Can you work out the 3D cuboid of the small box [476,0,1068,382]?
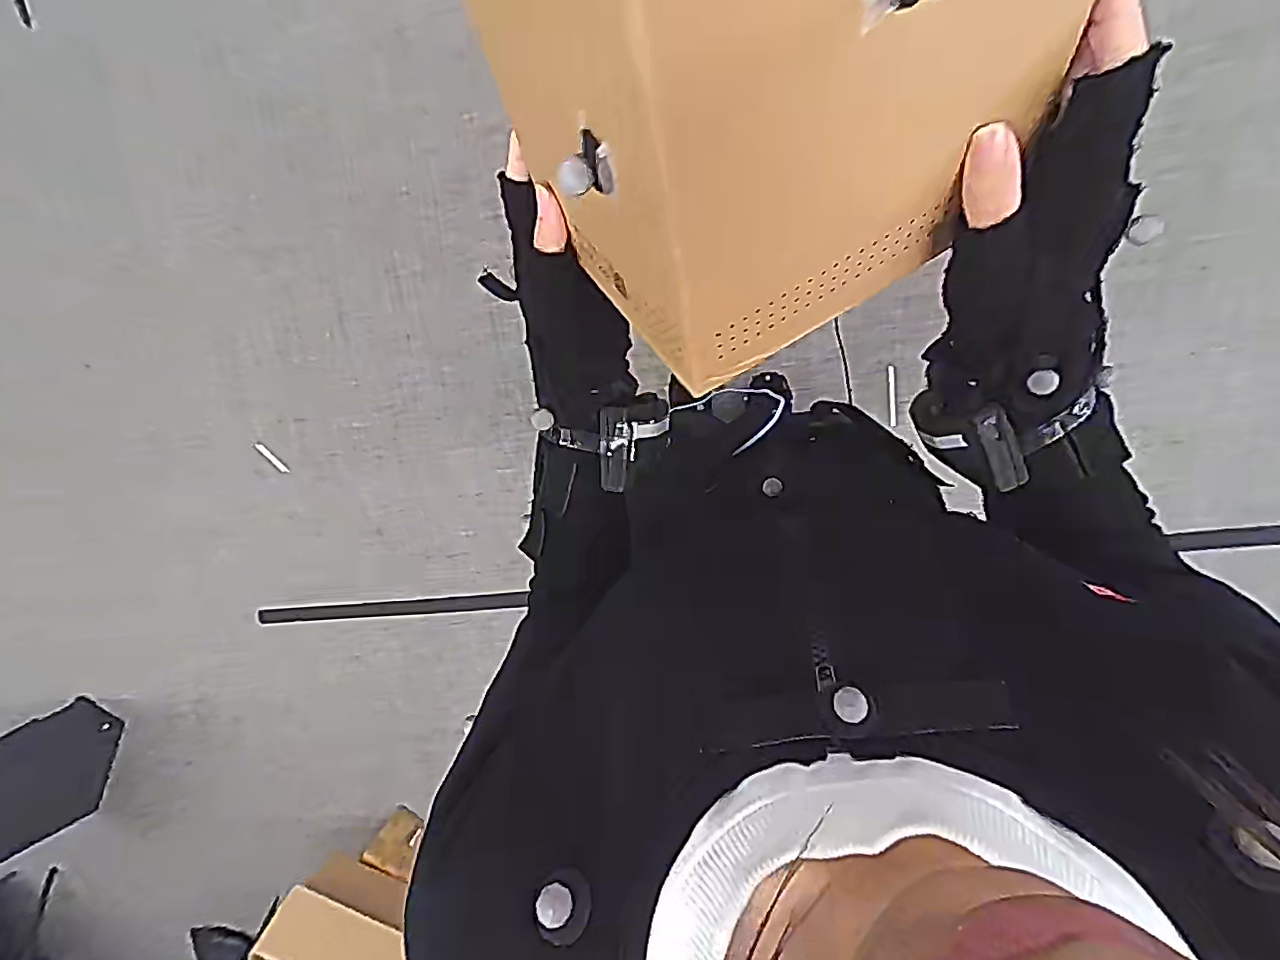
[{"bbox_3d":[0.047,-0.174,0.225,0.179,0.176,0.168,-31,59,-6],"label":"small box"}]
